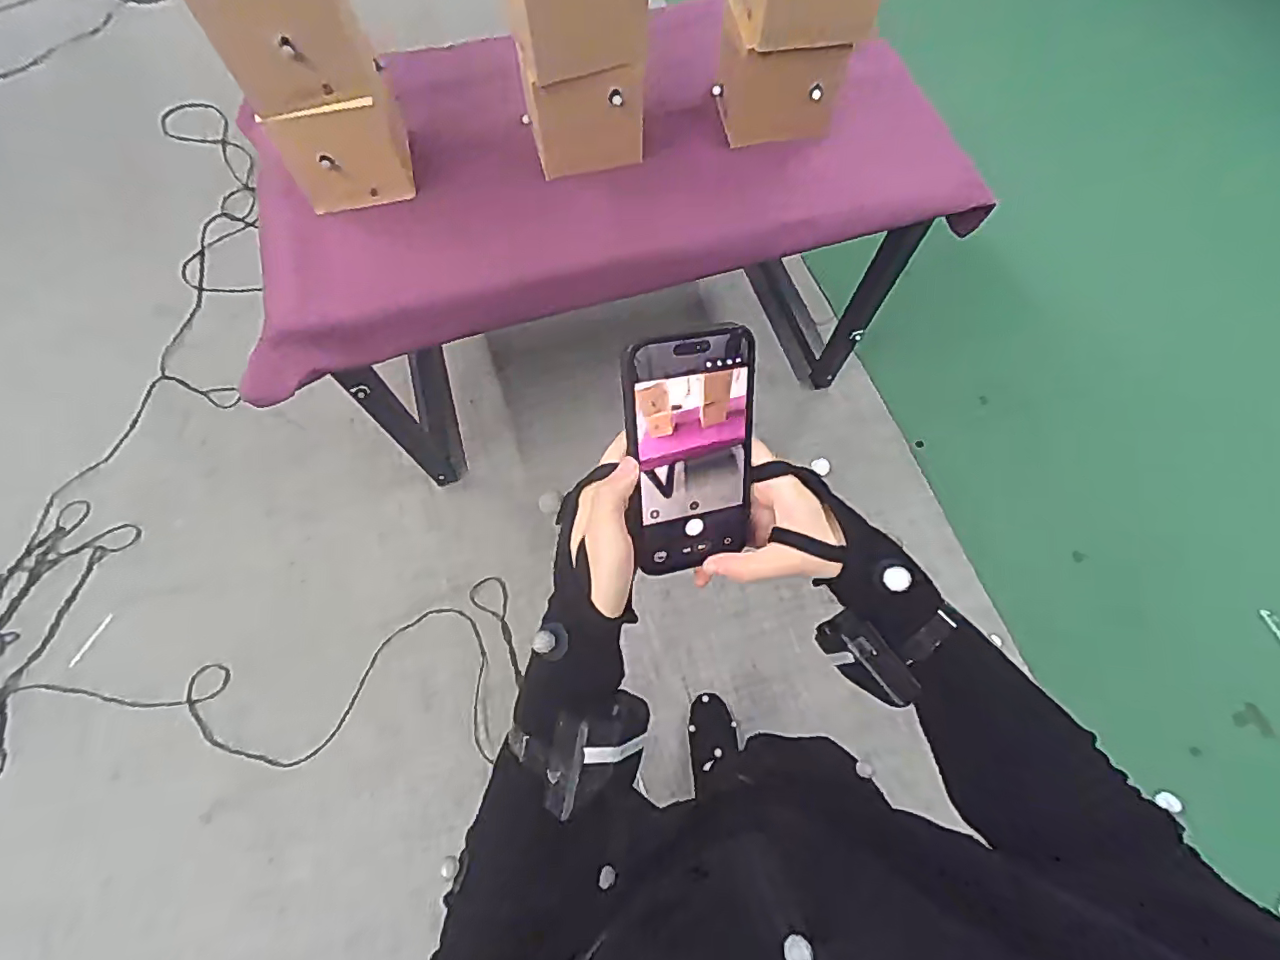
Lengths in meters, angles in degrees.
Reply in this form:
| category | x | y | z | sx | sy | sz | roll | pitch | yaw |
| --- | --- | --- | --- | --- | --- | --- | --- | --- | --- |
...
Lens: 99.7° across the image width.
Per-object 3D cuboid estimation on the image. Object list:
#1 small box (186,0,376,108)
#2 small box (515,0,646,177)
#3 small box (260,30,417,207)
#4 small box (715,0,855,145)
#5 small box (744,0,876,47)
| category | x | y | z | sx | sy | sz | roll | pitch | yaw |
| --- | --- | --- | --- | --- | --- | --- | --- | --- | --- |
| small box | -0.480 | -0.637 | 0.726 | 0.168 | 0.176 | 0.179 | -18 | 71 | -8 |
| small box | -0.095 | -0.646 | 0.904 | 0.179 | 0.176 | 0.168 | -14 | 69 | -5 |
| small box | -0.478 | -0.571 | 0.876 | 0.168 | 0.176 | 0.179 | -13 | 69 | -5 |
| small box | 0.238 | -0.714 | 0.932 | 0.179 | 0.176 | 0.168 | -8 | 69 | -3 |
| small box | 0.250 | -0.761 | 0.775 | 0.179 | 0.176 | 0.168 | -8 | 69 | -4 |
